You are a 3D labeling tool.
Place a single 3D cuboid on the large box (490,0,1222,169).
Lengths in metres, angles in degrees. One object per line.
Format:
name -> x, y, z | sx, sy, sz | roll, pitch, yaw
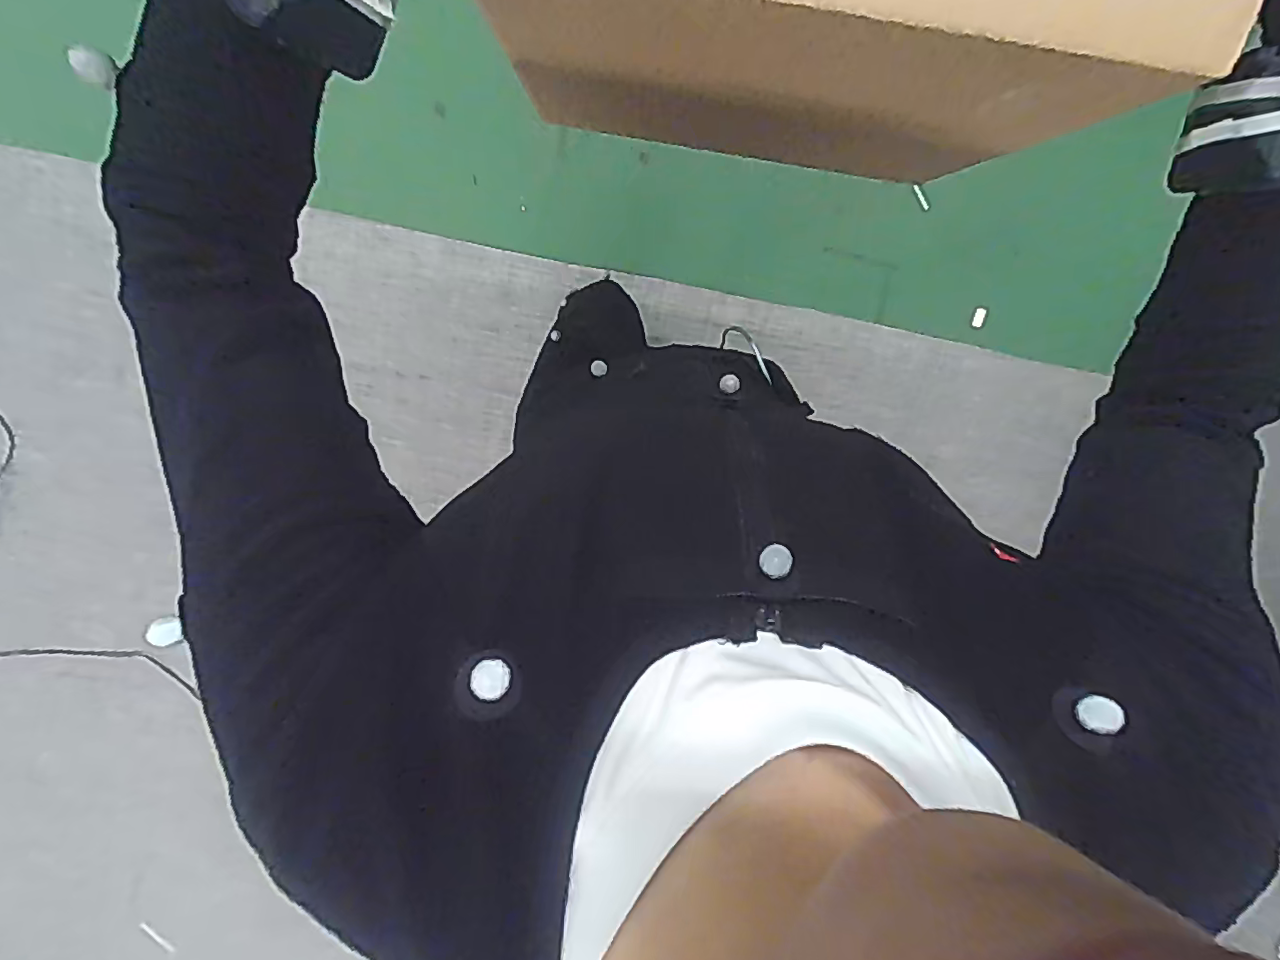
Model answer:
large box -> 0.118, -0.437, 0.371 | 0.408, 0.320, 0.320 | 6, 110, -3
